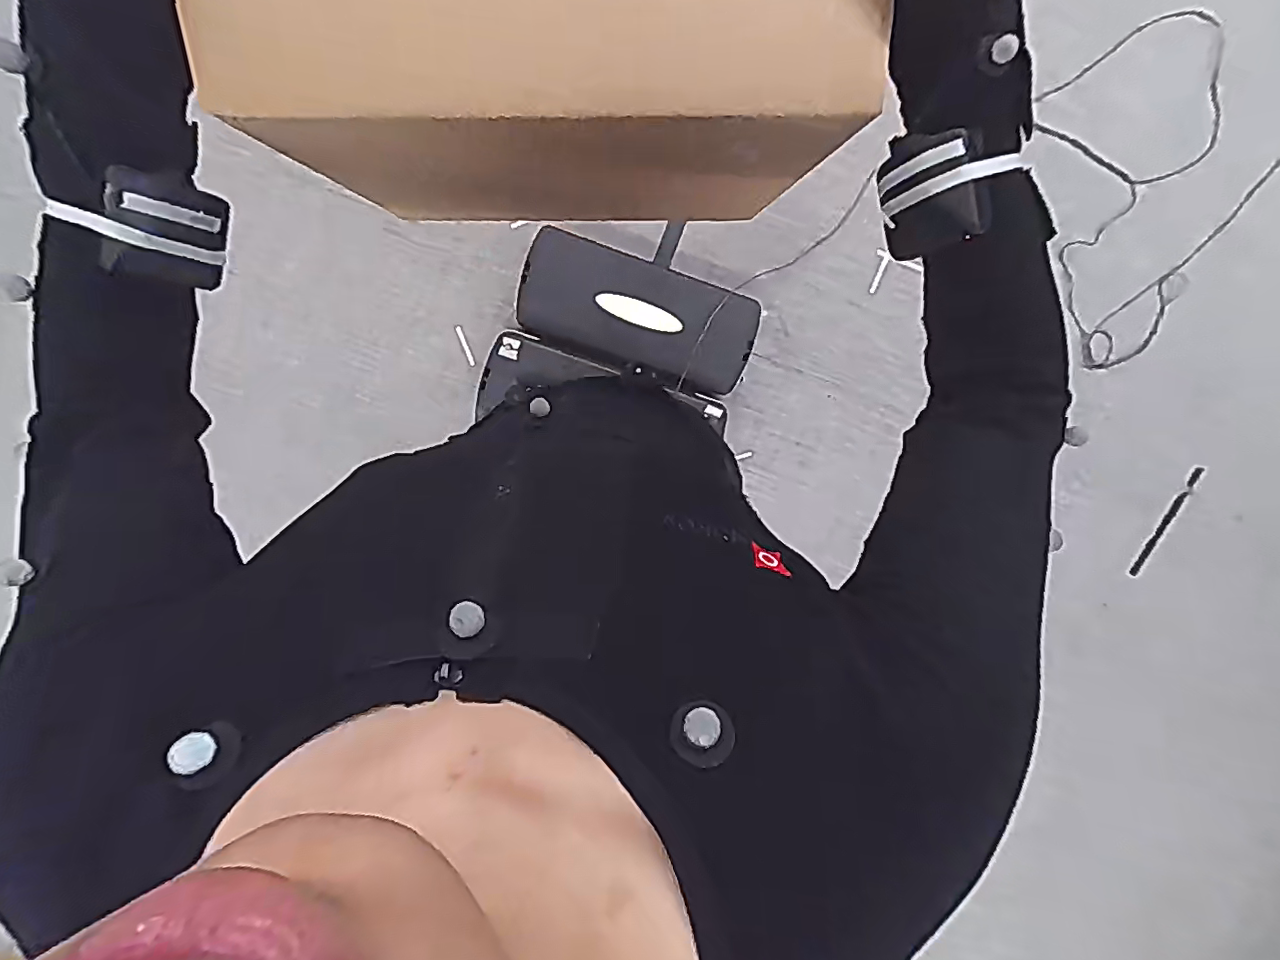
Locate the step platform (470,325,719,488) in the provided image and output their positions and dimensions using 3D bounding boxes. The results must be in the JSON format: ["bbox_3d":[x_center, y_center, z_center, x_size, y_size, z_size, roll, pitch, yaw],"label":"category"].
[{"bbox_3d":[-0.124,-0.204,1.543,0.684,0.204,0.286,17,102,-5],"label":"step platform"}]

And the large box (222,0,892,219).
[{"bbox_3d":[-0.056,-0.415,0.440,0.408,0.320,0.320,-2,106,-3],"label":"large box"}]
